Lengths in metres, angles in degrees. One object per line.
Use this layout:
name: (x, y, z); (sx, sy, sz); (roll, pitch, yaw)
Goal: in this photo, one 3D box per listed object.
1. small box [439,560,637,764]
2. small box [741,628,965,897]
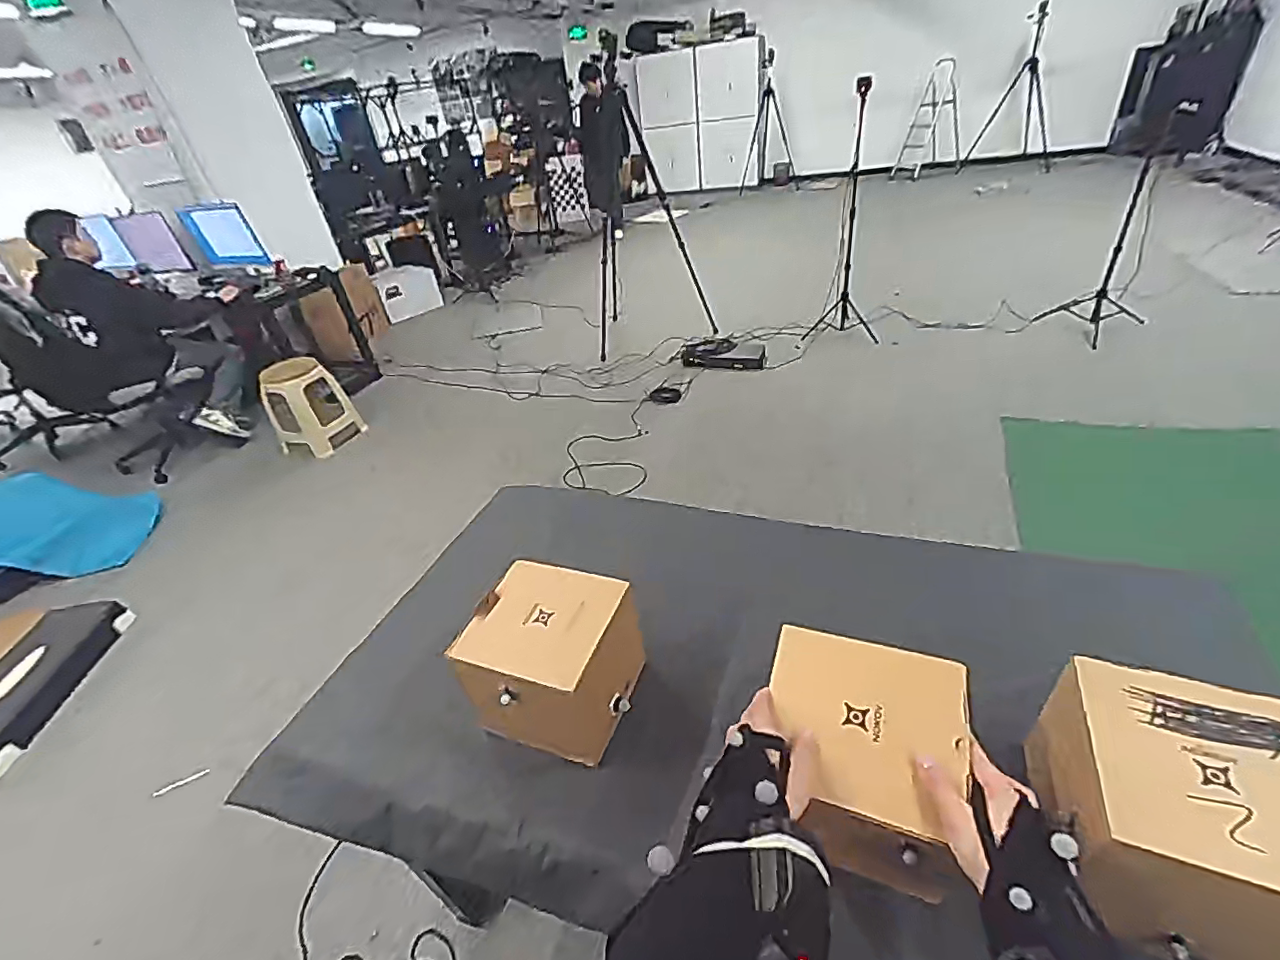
small box: (-0.118, 0.232, 0.699); (0.179, 0.176, 0.168); (9, 39, 21)
small box: (0.209, 0.281, 0.545); (0.179, 0.176, 0.168); (8, 45, 22)
